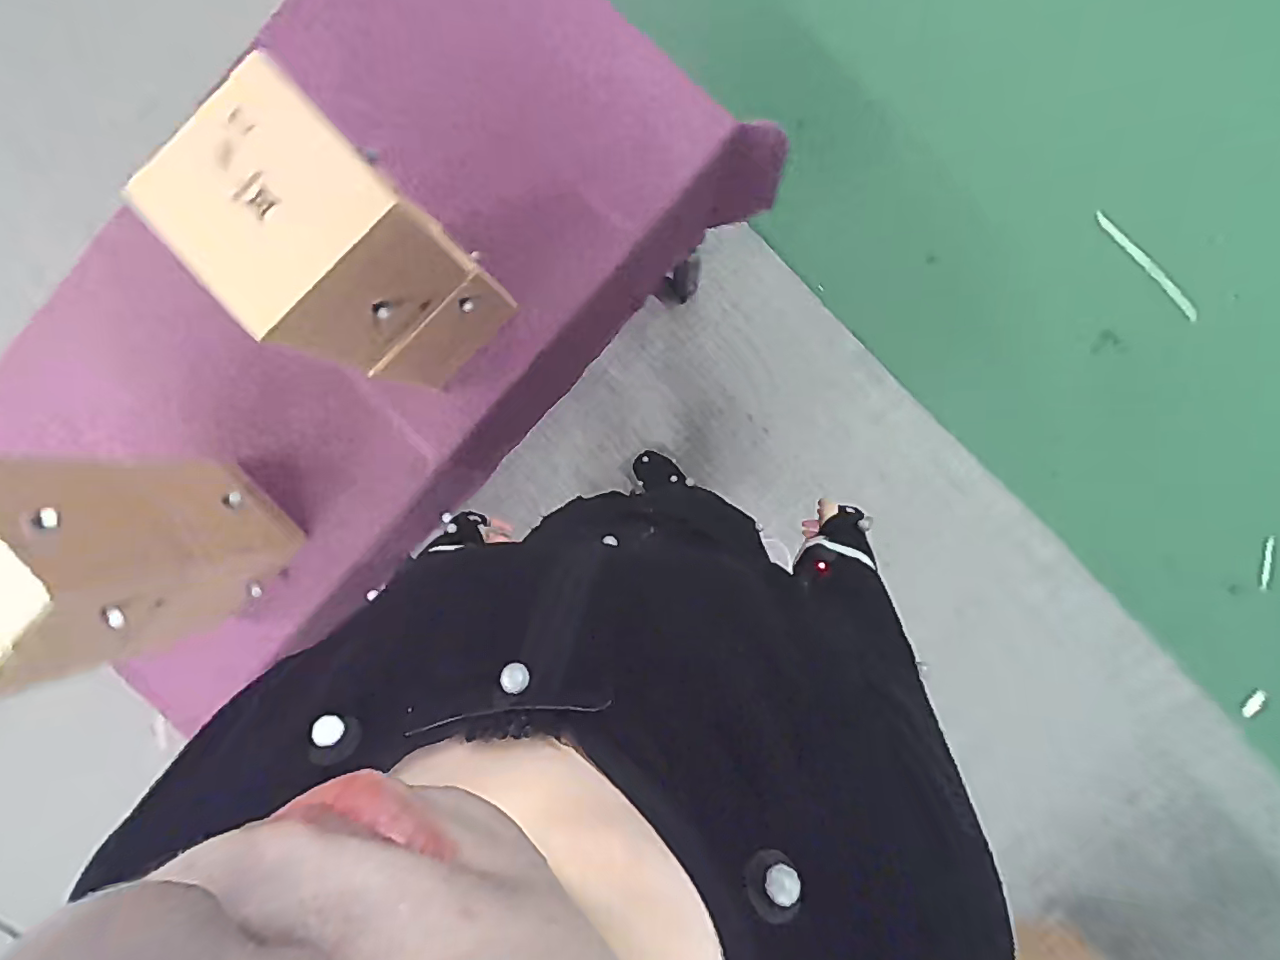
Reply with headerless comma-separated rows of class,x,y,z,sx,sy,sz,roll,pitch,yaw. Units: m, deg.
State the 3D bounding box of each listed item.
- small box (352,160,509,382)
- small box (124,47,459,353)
small box,-0.298,-0.247,0.691,0.179,0.176,0.168,-45,89,4
small box,-0.312,-0.243,0.527,0.168,0.176,0.179,-42,89,4
